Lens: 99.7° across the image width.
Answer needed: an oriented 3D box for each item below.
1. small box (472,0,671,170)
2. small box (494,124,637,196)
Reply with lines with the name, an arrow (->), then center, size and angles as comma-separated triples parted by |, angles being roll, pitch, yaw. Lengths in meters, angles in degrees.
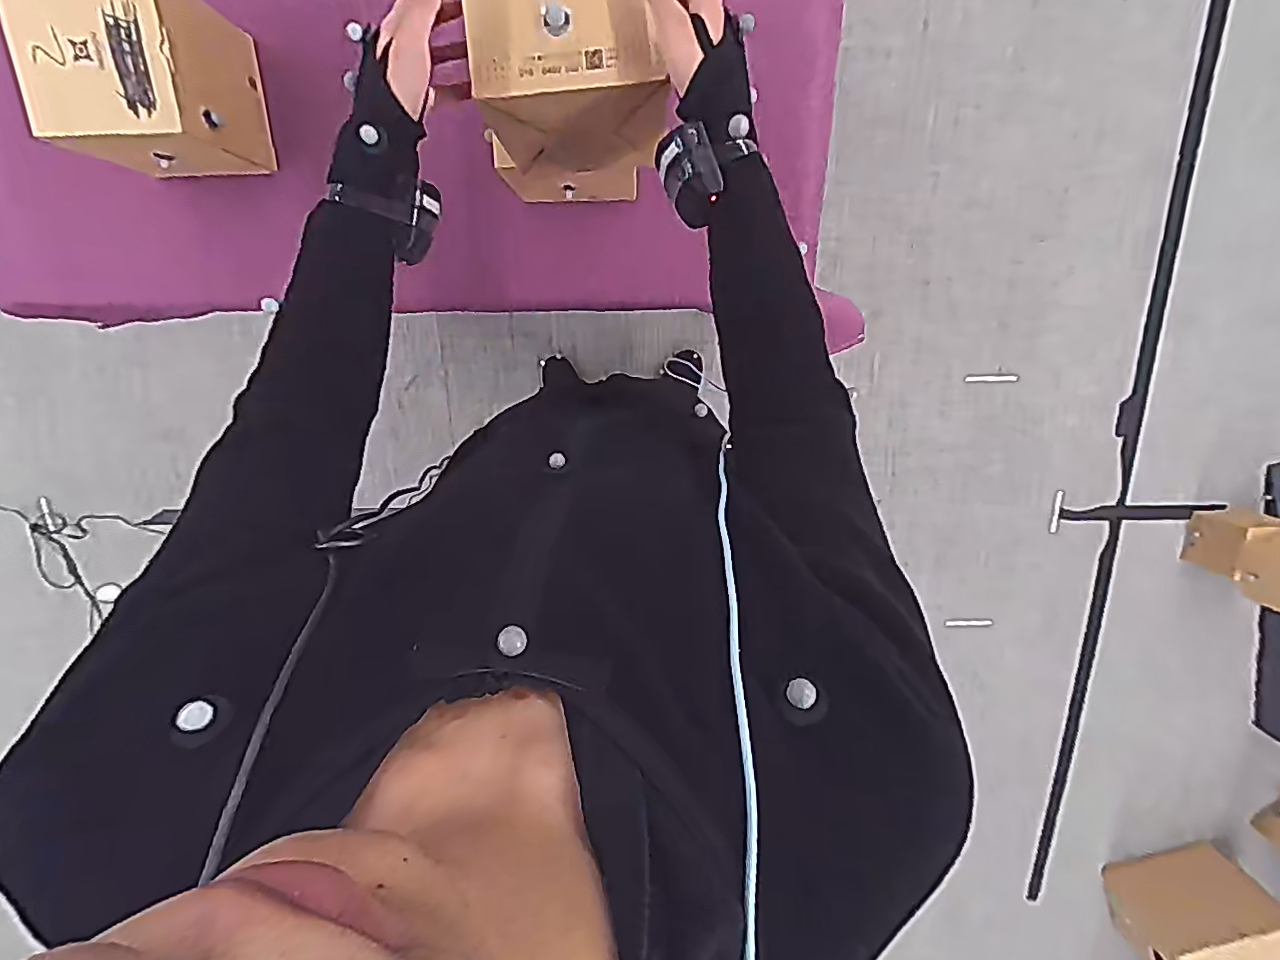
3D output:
small box -> -0.059, -0.417, 0.516 | 0.168, 0.179, 0.176 | -4, 101, 2
small box -> -0.087, -0.470, 0.685 | 0.168, 0.176, 0.179 | -1, 105, -1
